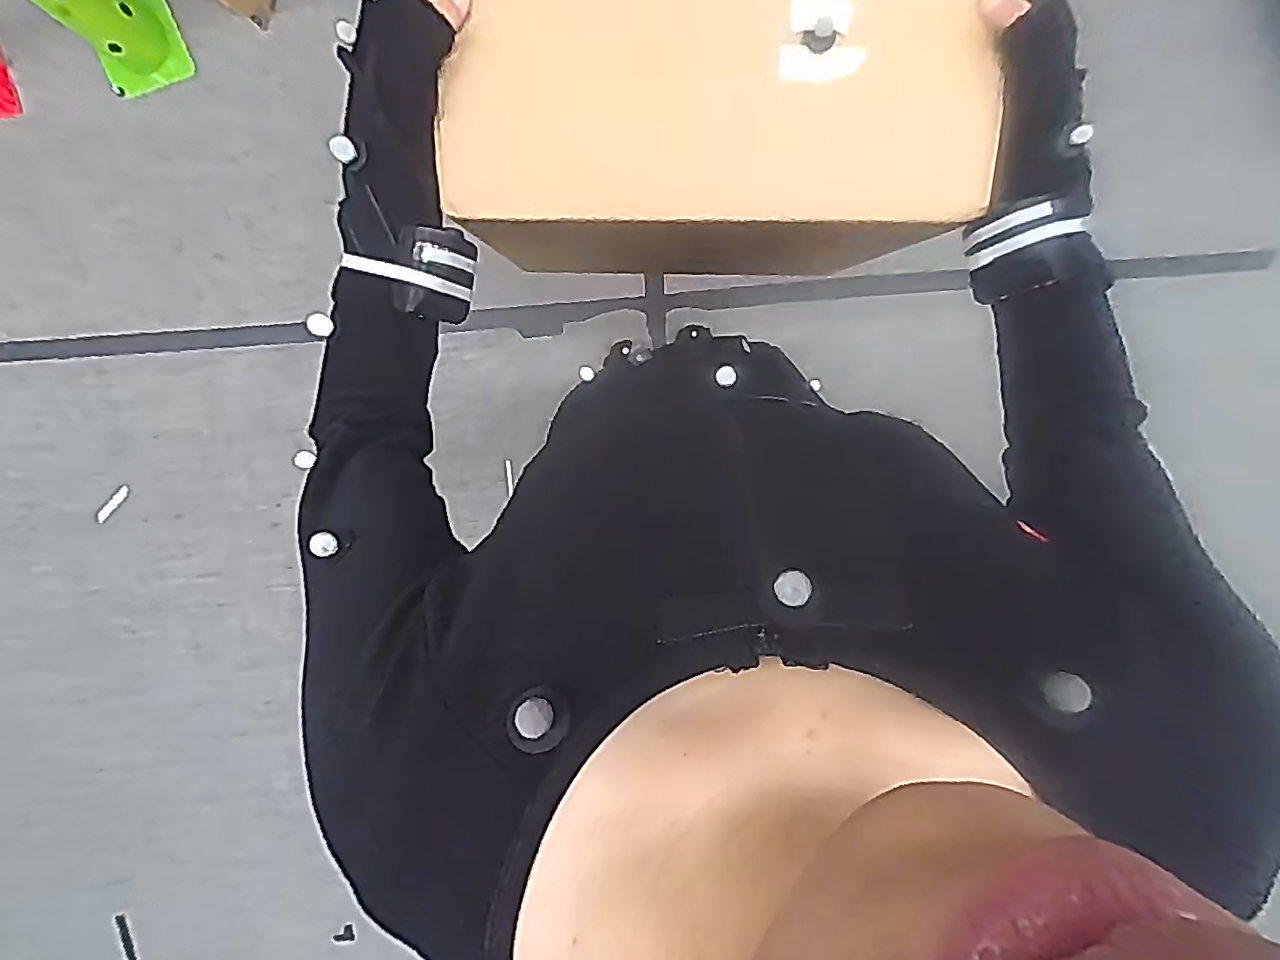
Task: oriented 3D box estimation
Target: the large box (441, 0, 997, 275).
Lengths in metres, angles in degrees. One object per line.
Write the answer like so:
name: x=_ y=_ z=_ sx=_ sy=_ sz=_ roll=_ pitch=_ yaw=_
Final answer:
large box: x=0.052 y=-0.387 z=0.525 sx=0.408 sy=0.320 sz=0.320 roll=-1 pitch=104 yaw=-2
